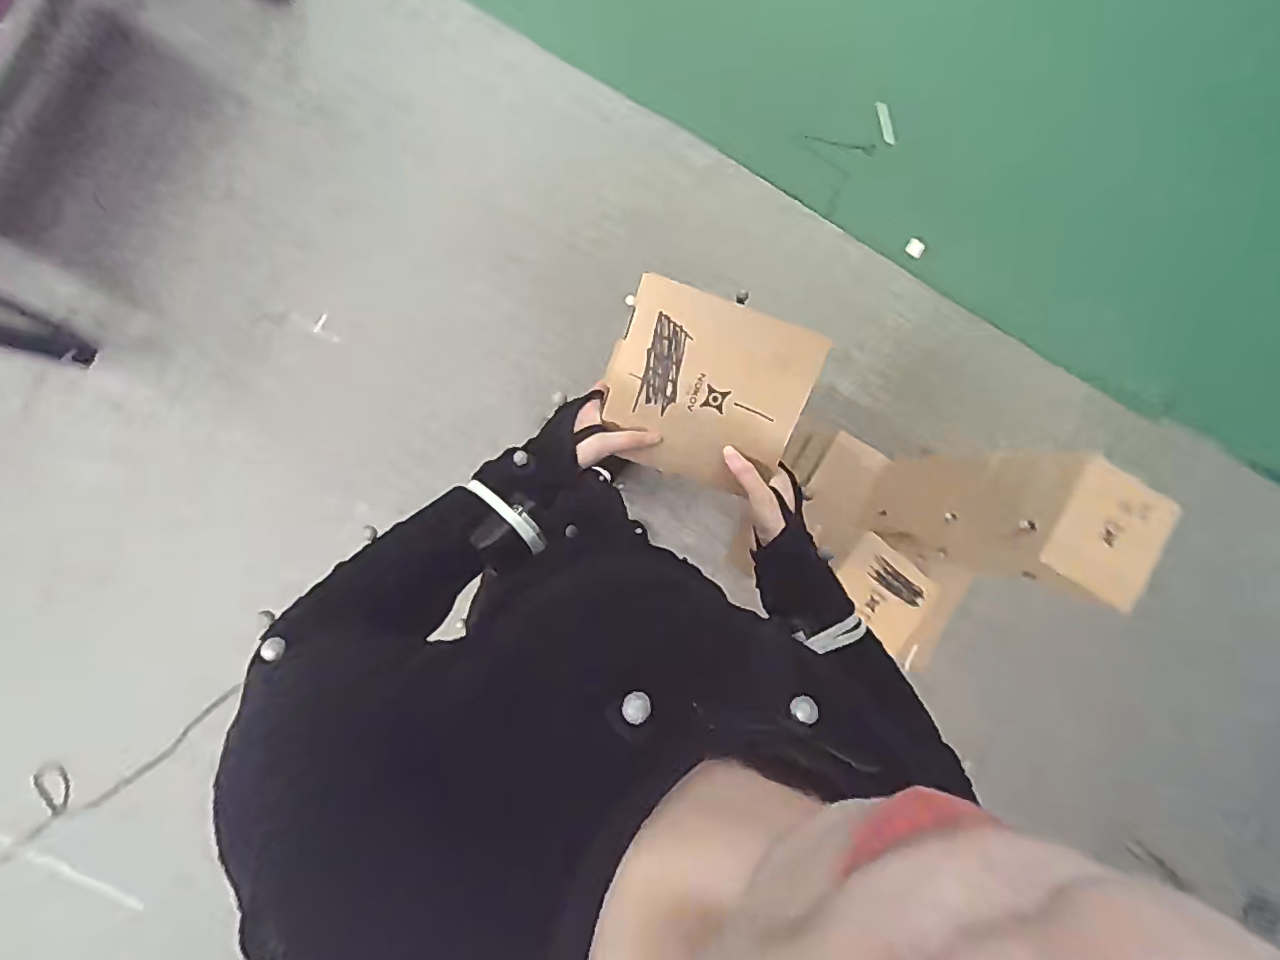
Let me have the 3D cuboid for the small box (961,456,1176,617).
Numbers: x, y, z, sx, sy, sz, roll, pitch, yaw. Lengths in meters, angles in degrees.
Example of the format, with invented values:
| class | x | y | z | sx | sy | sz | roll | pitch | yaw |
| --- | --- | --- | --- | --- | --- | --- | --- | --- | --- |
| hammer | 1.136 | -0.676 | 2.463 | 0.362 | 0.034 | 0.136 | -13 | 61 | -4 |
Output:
| class | x | y | z | sx | sy | sz | roll | pitch | yaw |
| --- | --- | --- | --- | --- | --- | --- | --- | --- | --- |
| small box | 0.643 | 0.080 | 0.837 | 0.168 | 0.176 | 0.179 | 31 | 87 | -7 |

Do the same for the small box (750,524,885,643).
| class | x | y | z | sx | sy | sz | roll | pitch | yaw |
| --- | --- | --- | --- | --- | --- | --- | --- | --- | --- |
| small box | 0.363 | 0.205 | 1.136 | 0.179 | 0.176 | 0.168 | 34 | 88 | -5 |

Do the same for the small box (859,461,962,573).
| class | x | y | z | sx | sy | sz | roll | pitch | yaw |
| --- | --- | --- | --- | --- | --- | --- | --- | --- | --- |
| small box | 0.602 | 0.076 | 1.162 | 0.168 | 0.176 | 0.179 | 28 | 86 | -6 |

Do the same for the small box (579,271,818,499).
| class | x | y | z | sx | sy | sz | roll | pitch | yaw |
| --- | --- | --- | --- | --- | --- | --- | --- | --- | --- |
| small box | 0.050 | -0.104 | 0.564 | 0.179 | 0.176 | 0.168 | 17 | 109 | -6 |
